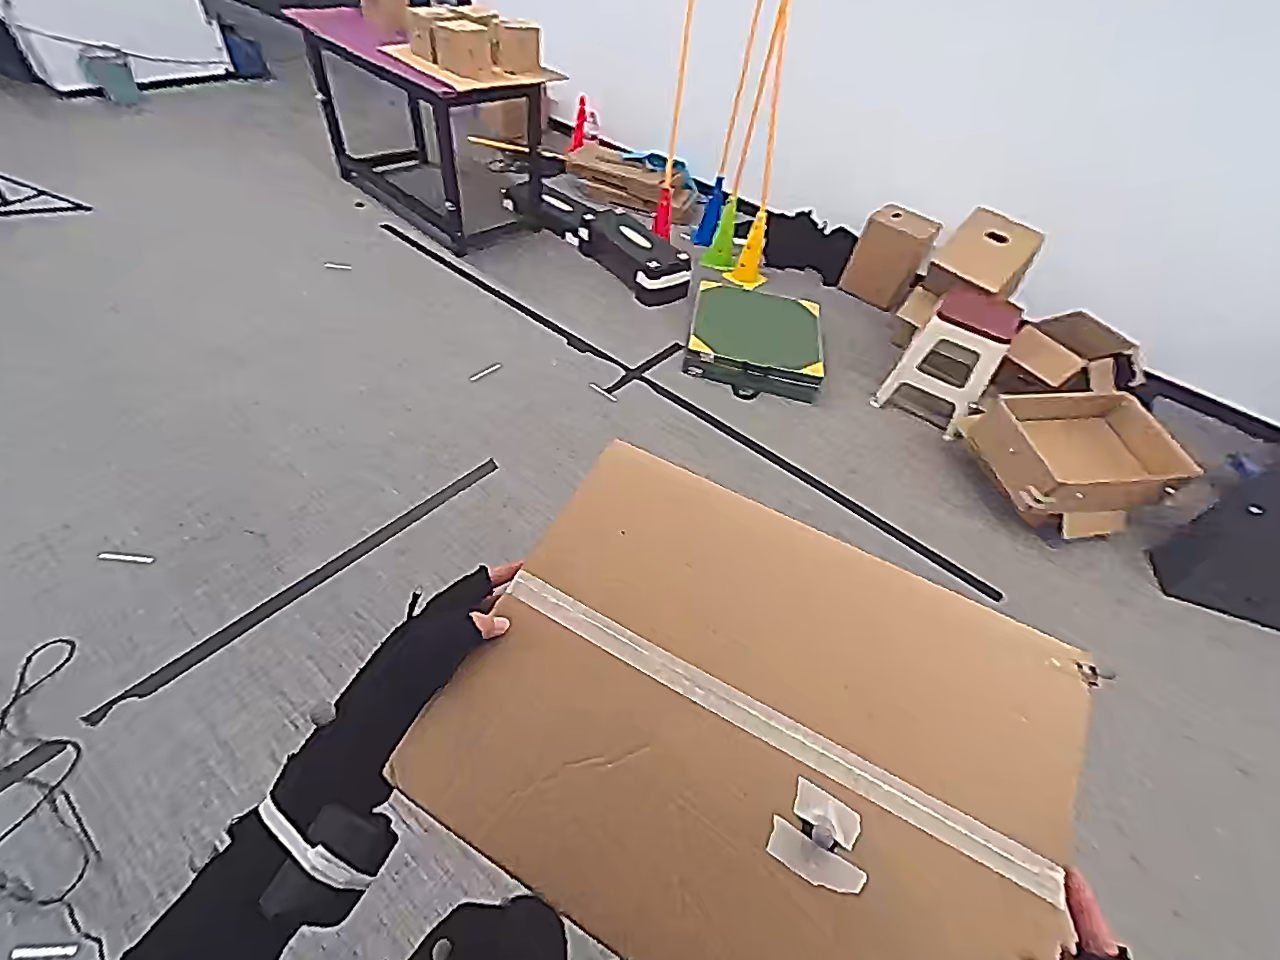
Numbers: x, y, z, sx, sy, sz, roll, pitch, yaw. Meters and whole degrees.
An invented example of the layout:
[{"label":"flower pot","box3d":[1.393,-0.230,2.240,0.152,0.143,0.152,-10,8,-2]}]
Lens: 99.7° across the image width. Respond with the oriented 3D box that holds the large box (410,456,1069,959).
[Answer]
[{"label":"large box","box3d":[0.082,0.243,0.523,0.408,0.320,0.320,25,64,15]}]
